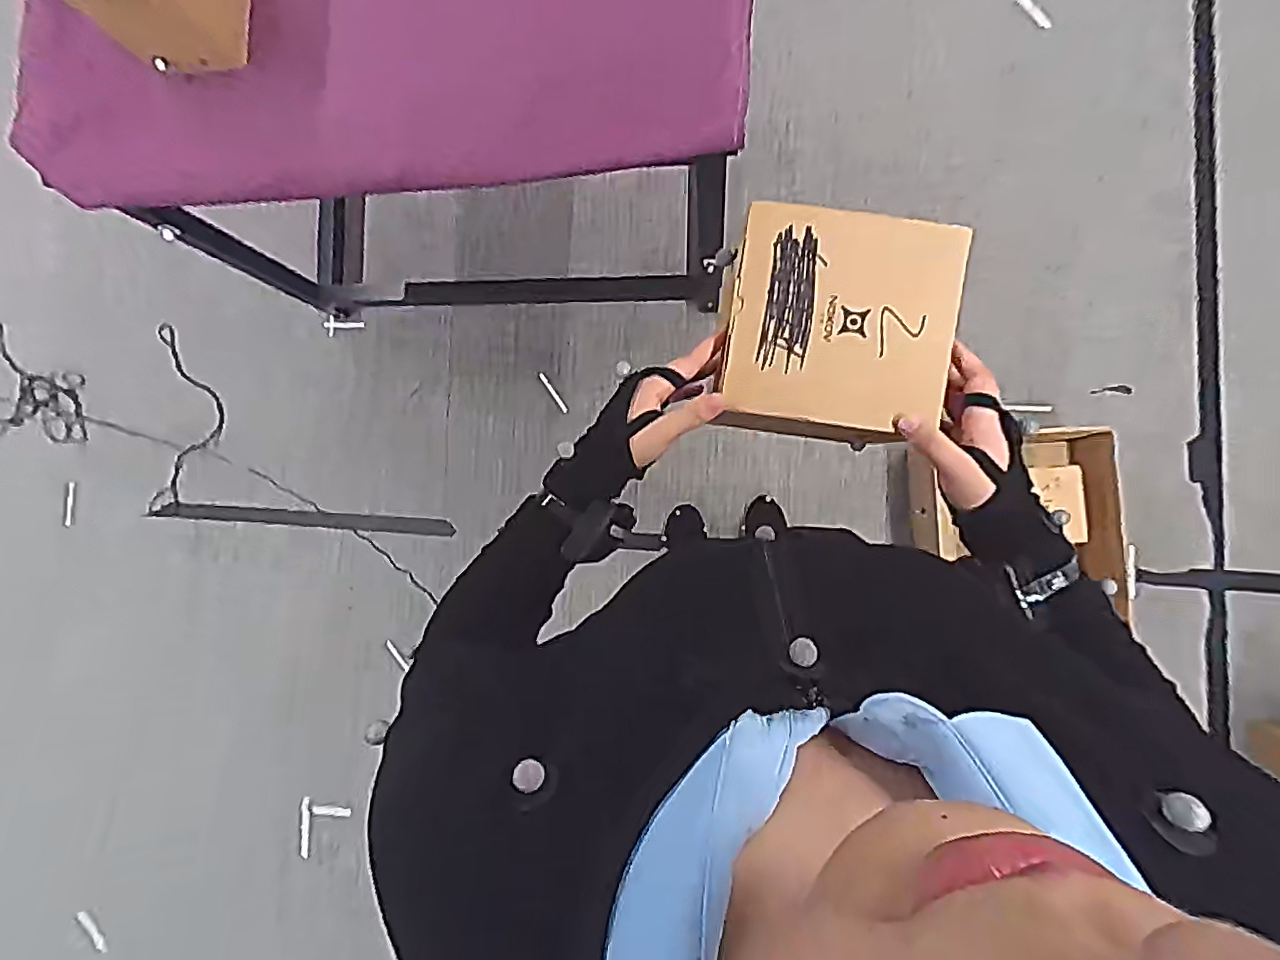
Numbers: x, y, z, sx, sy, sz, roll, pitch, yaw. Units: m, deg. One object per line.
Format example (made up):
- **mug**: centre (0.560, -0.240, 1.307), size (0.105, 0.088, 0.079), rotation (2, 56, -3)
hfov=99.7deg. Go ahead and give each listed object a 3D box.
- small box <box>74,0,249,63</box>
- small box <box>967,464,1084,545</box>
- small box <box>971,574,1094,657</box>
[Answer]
- **small box**: centre (-0.745, -0.786, 0.837), size (0.168, 0.176, 0.179), rotation (2, 88, 6)
- **small box**: centre (0.911, 0.057, 1.293), size (0.168, 0.176, 0.179), rotation (-4, 88, 5)
- **small box**: centre (0.922, 0.316, 1.283), size (0.179, 0.176, 0.168), rotation (-3, 87, 7)
